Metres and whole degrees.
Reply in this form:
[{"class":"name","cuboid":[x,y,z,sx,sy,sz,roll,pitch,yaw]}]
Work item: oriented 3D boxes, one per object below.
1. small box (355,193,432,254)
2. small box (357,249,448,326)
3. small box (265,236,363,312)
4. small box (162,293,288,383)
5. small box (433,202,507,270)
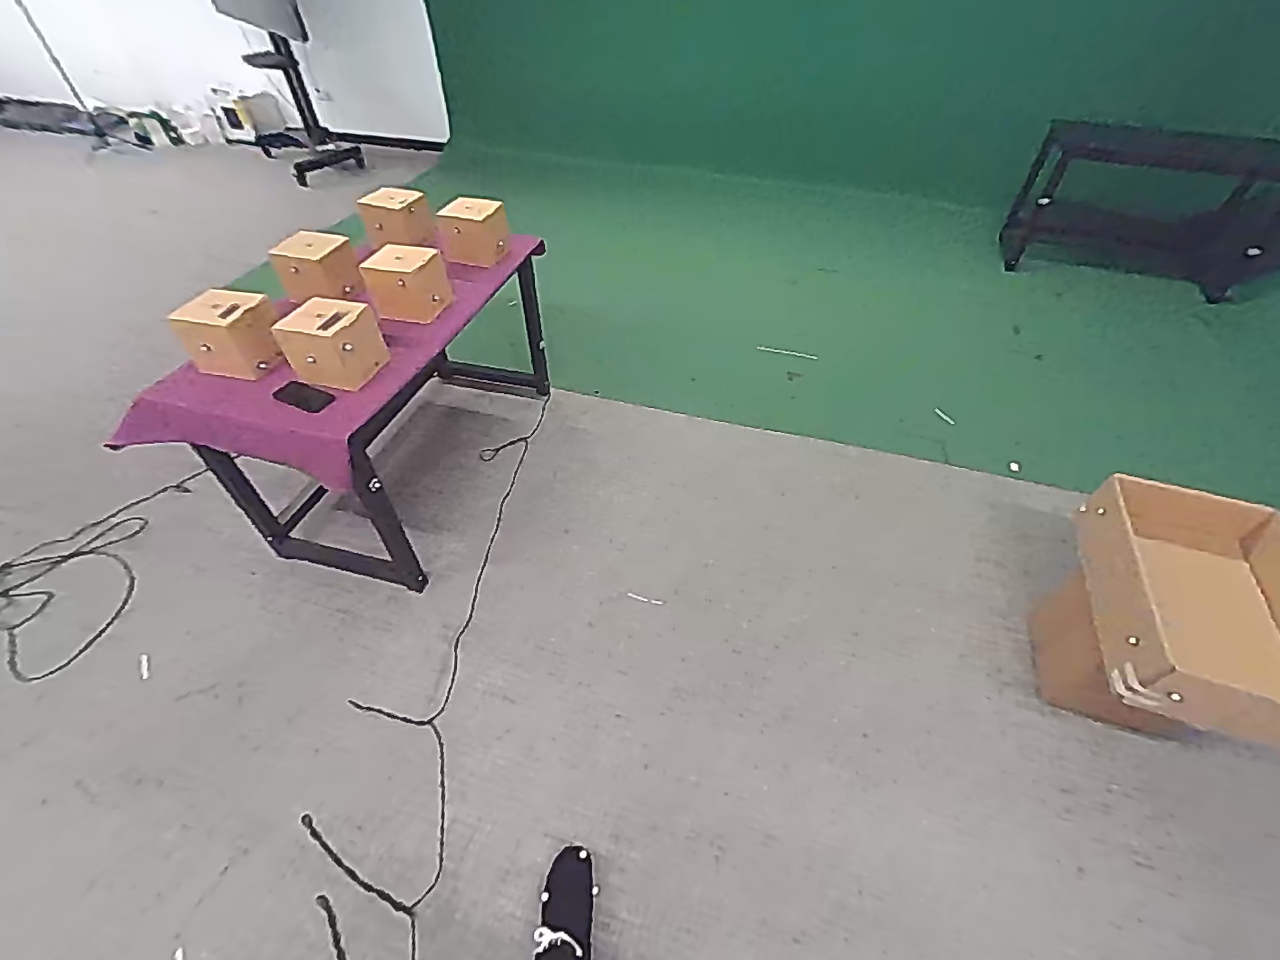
[{"class":"small box","cuboid":[-0.903,-0.936,1.996,0.179,0.176,0.168,13,48,12]},{"class":"small box","cuboid":[-0.724,-0.592,1.669,0.179,0.176,0.168,10,47,9]},{"class":"small box","cuboid":[-1.031,-0.655,1.726,0.179,0.176,0.168,11,48,9]},{"class":"small box","cuboid":[-1.103,-0.381,1.459,0.179,0.176,0.168,8,46,8]},{"class":"small box","cuboid":[-0.599,-0.869,1.931,0.179,0.176,0.168,13,49,12]}]
